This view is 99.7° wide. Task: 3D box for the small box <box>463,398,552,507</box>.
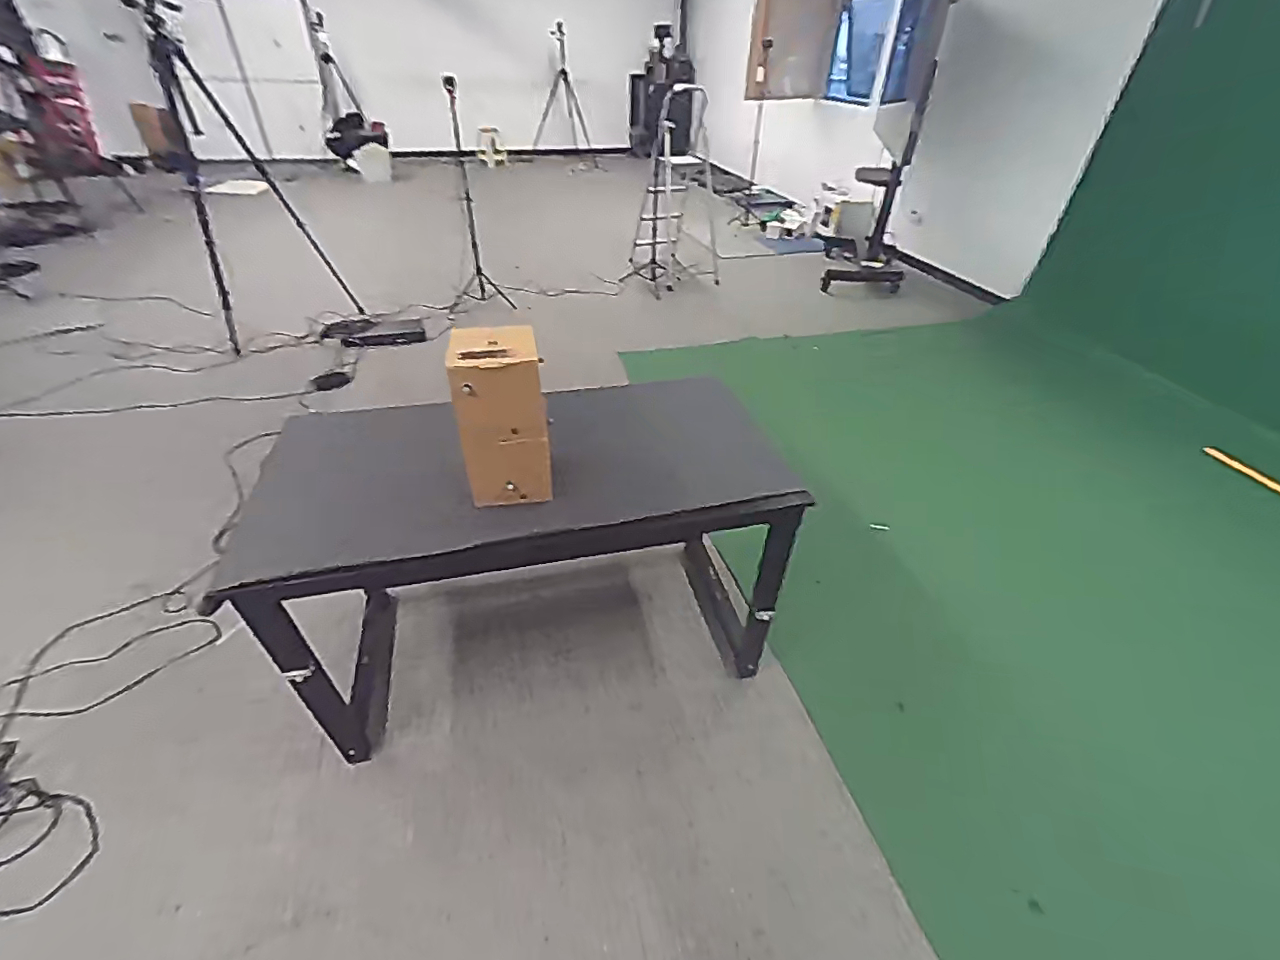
[{"bbox_3d":[-0.283,-0.062,1.185,0.168,0.176,0.179,-5,38,-8],"label":"small box"}]
